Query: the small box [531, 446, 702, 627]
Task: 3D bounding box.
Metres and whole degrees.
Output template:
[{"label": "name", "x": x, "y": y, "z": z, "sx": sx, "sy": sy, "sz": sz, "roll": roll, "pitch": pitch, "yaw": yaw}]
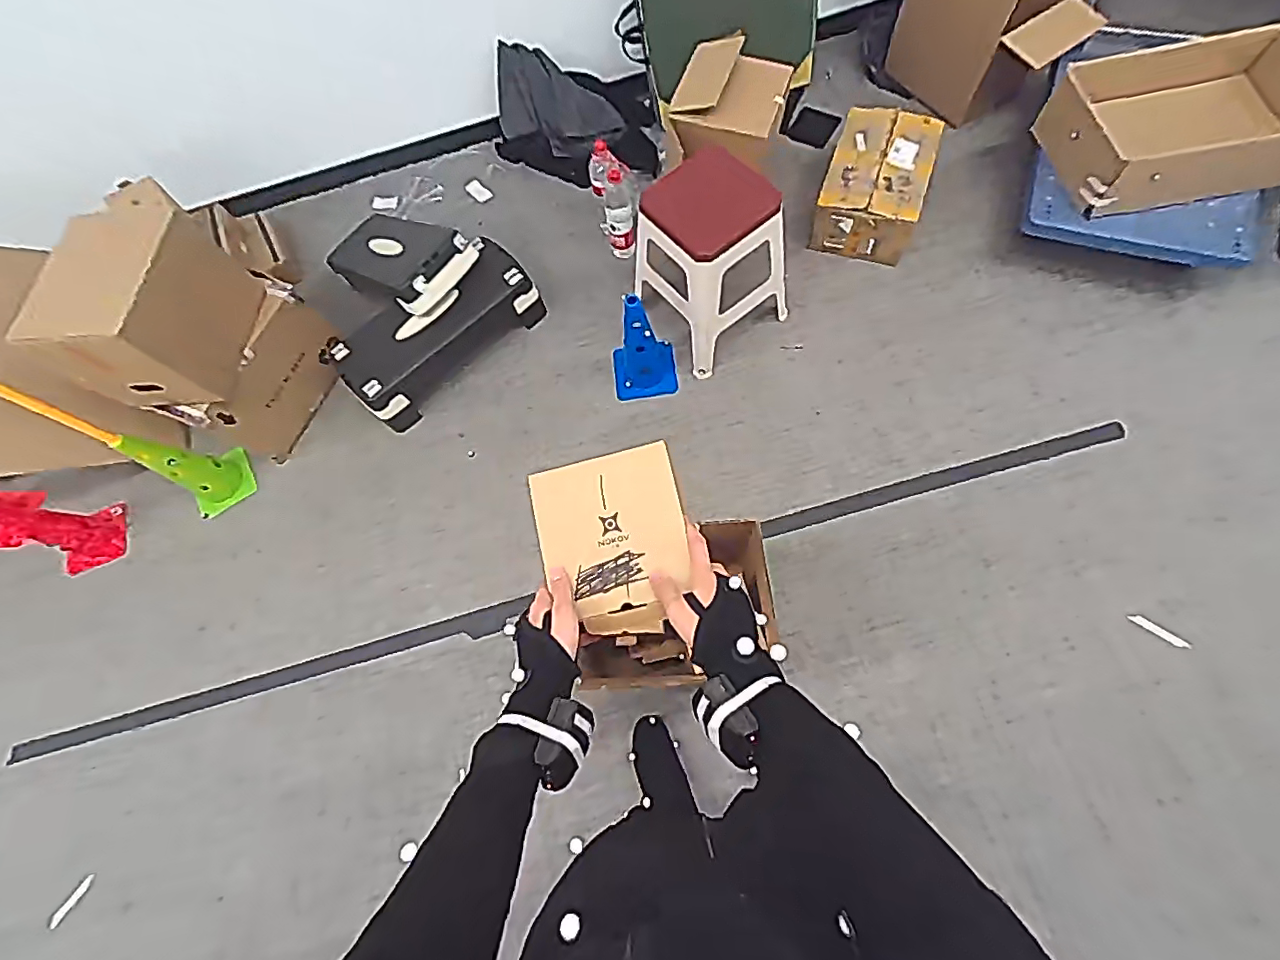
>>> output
[{"label": "small box", "x": -0.020, "y": 0.076, "z": 0.678, "sx": 0.168, "sy": 0.176, "sz": 0.179, "roll": -14, "pitch": 76, "yaw": 5}]
